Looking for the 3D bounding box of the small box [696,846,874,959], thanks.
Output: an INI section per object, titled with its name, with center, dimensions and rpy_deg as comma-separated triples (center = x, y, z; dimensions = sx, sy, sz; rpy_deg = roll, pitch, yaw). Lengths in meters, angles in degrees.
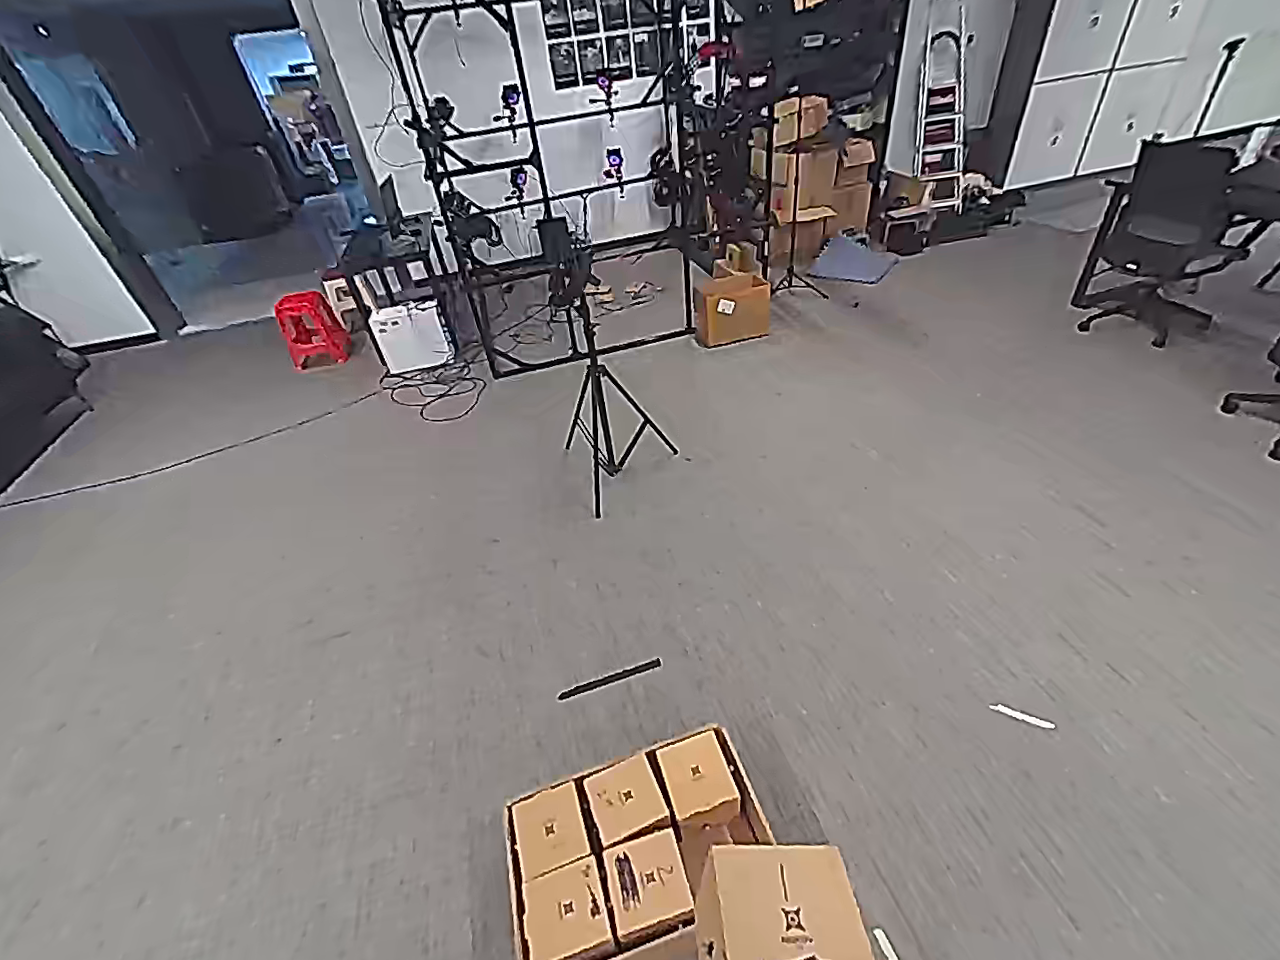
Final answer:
[small box]
center = 0.164, 0.568, 0.634
dimensions = 0.168, 0.176, 0.179
rpy_deg = 2, 28, -4
